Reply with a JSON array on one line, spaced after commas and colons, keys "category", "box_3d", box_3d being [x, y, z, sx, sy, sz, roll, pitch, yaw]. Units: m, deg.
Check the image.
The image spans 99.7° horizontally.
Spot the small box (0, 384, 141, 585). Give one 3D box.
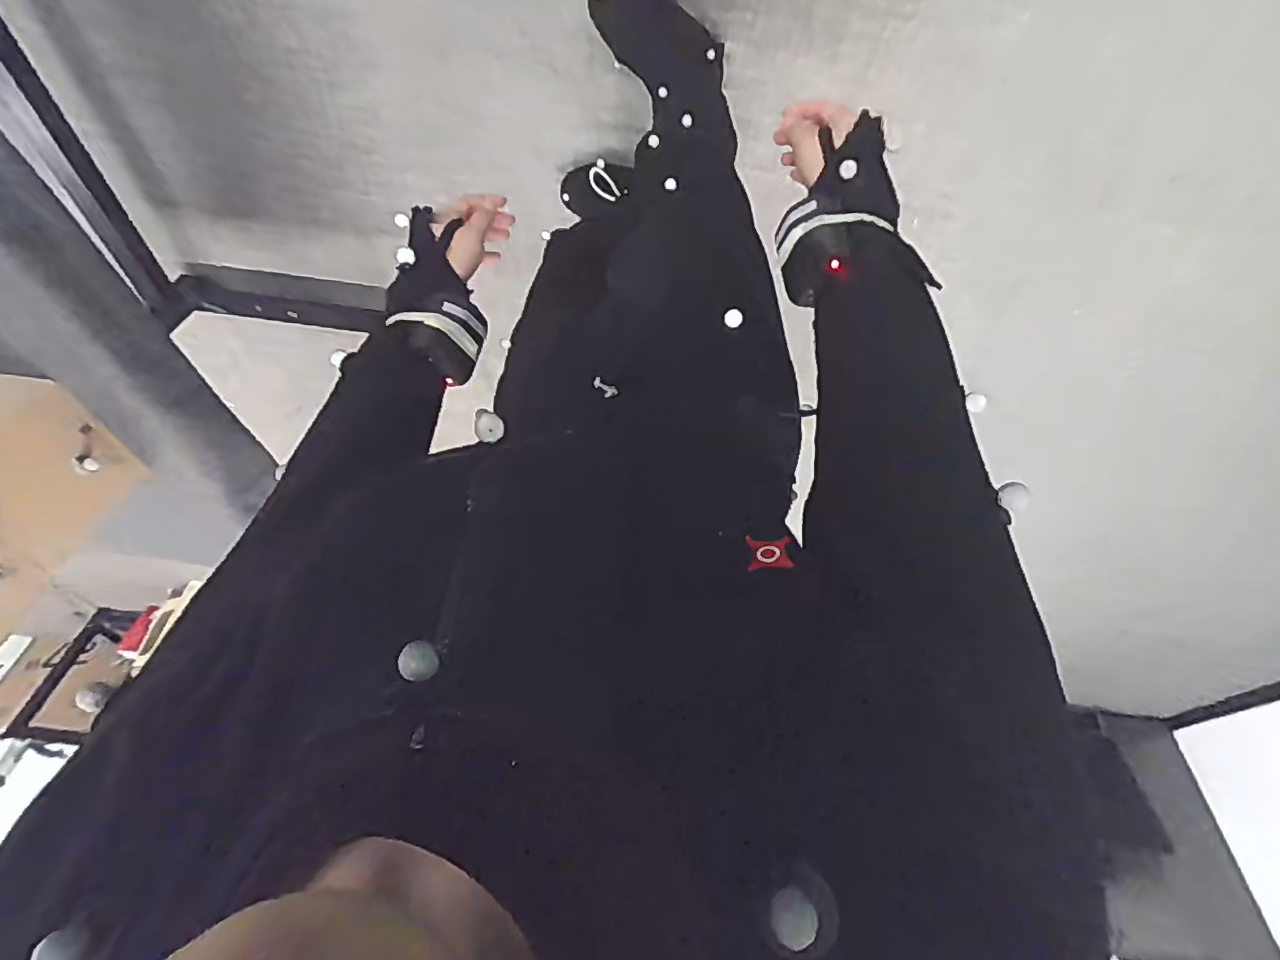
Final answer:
[{"category": "small box", "box_3d": [-0.754, 0.000, 0.621, 0.179, 0.176, 0.168, 6, 142, 0]}]
